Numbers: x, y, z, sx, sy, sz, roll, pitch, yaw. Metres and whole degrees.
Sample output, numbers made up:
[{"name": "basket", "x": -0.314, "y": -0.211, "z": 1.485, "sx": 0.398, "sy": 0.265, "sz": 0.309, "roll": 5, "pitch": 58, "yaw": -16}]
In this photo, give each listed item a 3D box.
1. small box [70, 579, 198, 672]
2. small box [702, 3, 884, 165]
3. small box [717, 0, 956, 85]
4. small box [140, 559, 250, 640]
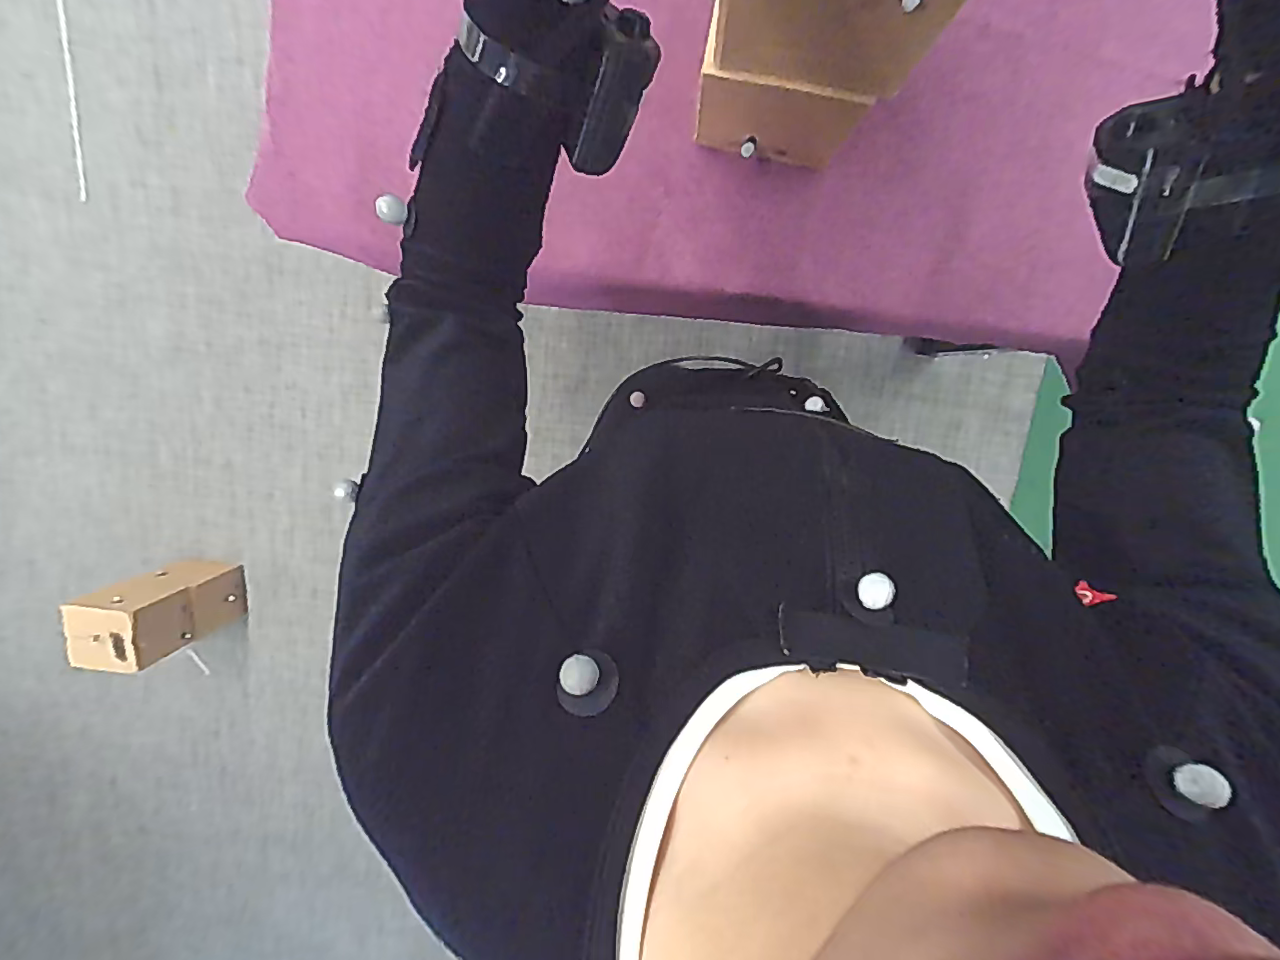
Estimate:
[{"name": "small box", "x": -1.276, "y": 0.365, "z": 1.380, "sx": 0.179, "sy": 0.176, "sz": 0.168, "roll": 6, "pitch": 102, "yaw": 3}, {"name": "small box", "x": 0.161, "y": -0.459, "z": 0.554, "sx": 0.168, "sy": 0.176, "sz": 0.179, "roll": 12, "pitch": 102, "yaw": 2}, {"name": "small box", "x": 0.158, "y": -0.428, "z": 0.395, "sx": 0.179, "sy": 0.176, "sz": 0.168, "roll": 10, "pitch": 102, "yaw": 1}, {"name": "small box", "x": -1.260, "y": 0.333, "z": 1.541, "sx": 0.179, "sy": 0.176, "sz": 0.168, "roll": 6, "pitch": 103, "yaw": 1}]
